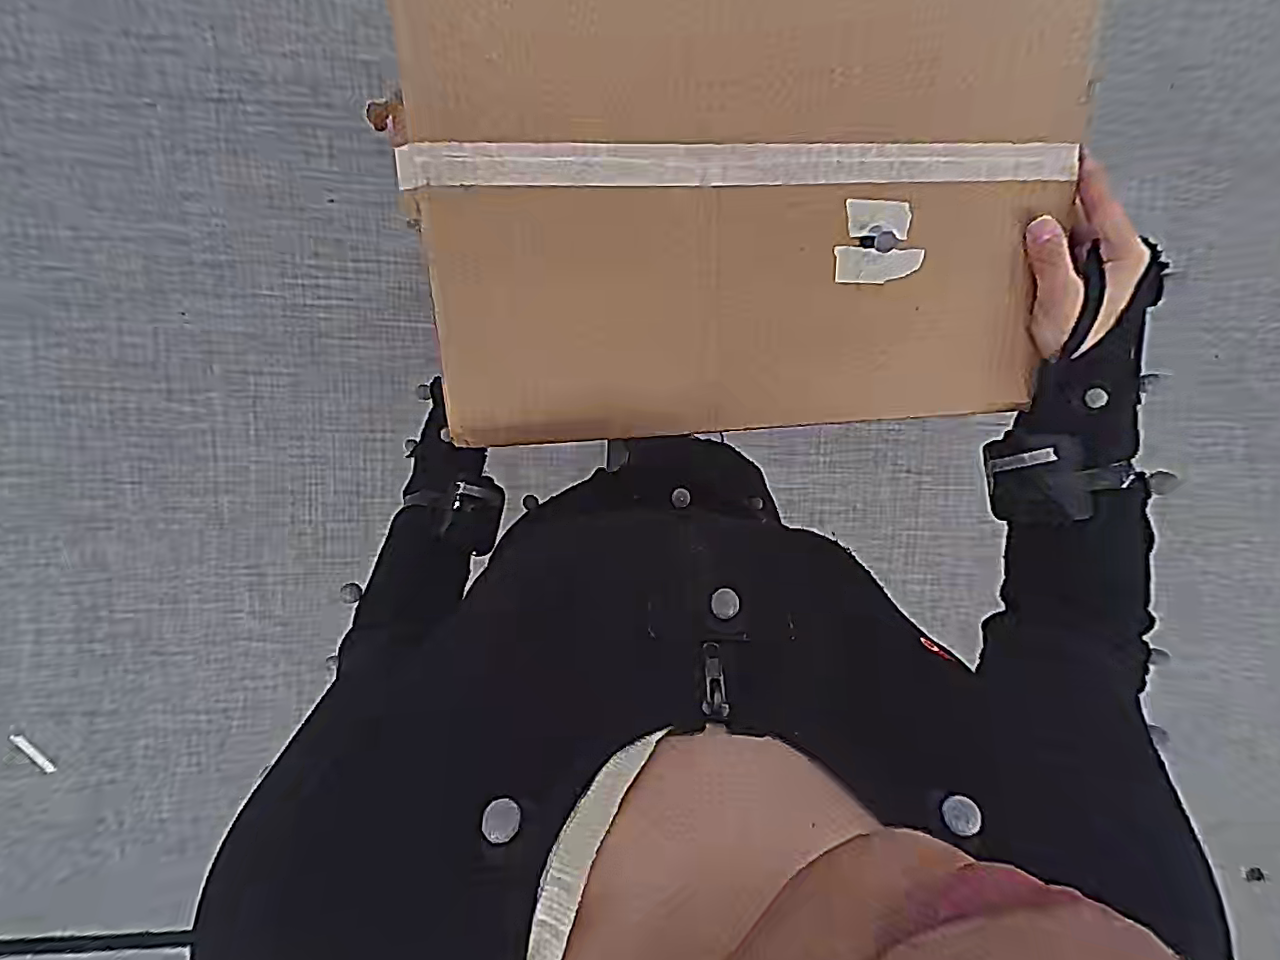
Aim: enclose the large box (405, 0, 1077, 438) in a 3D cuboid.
[{"bbox_3d":[0.052,-0.229,0.470,0.408,0.320,0.320,-5,106,-9],"label":"large box"}]
